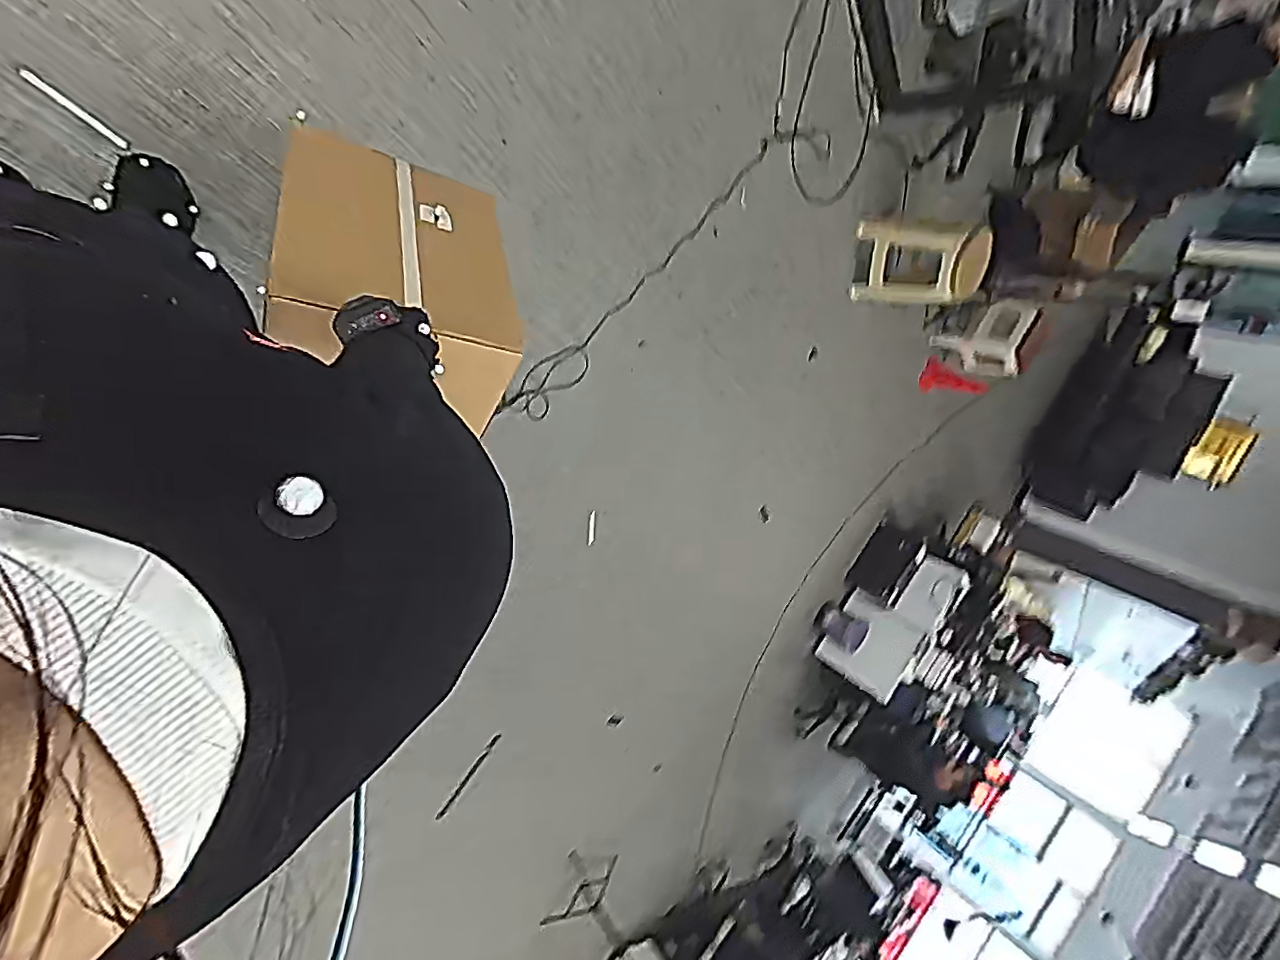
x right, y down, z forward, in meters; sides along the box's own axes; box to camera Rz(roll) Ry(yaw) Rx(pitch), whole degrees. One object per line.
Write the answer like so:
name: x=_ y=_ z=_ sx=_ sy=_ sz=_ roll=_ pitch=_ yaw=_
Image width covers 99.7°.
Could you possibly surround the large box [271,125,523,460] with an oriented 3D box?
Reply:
large box: x=-0.426 y=-0.284 z=0.907 sx=0.320 sy=0.408 sz=0.320 roll=5 pitch=143 yaw=-35
